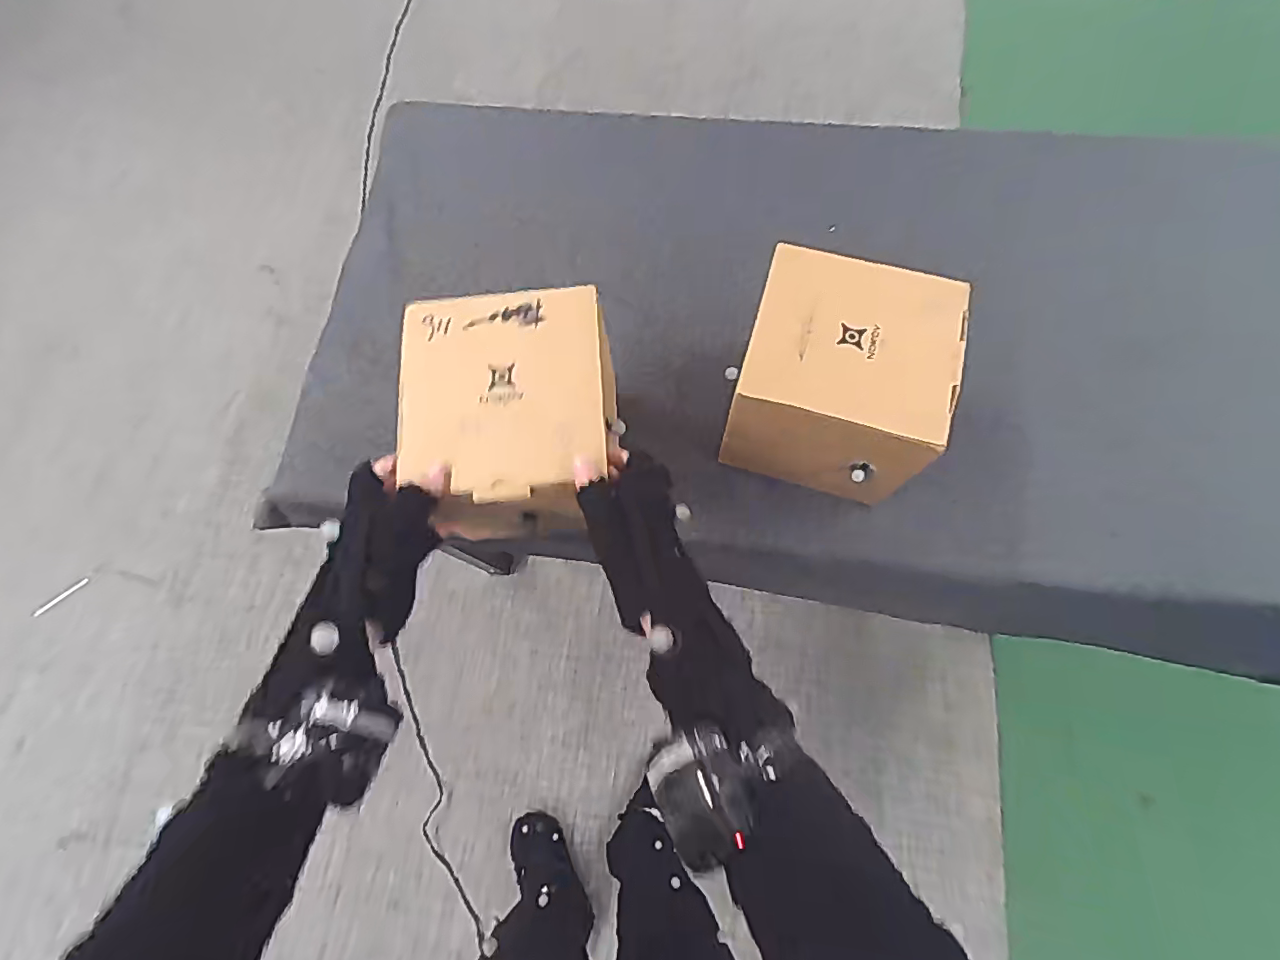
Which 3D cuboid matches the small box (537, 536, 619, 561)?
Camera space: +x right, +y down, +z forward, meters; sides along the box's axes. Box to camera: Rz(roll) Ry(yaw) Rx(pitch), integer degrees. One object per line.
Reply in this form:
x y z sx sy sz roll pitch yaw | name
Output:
-0.135 0.090 1.273 0.168 0.176 0.179 3 71 3 | small box

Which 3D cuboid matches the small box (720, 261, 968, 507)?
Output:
0.191 -0.084 0.548 0.179 0.176 0.168 16 72 9 | small box

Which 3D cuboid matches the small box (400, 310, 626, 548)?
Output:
-0.106 -0.032 0.512 0.168 0.176 0.179 -5 74 2 | small box
